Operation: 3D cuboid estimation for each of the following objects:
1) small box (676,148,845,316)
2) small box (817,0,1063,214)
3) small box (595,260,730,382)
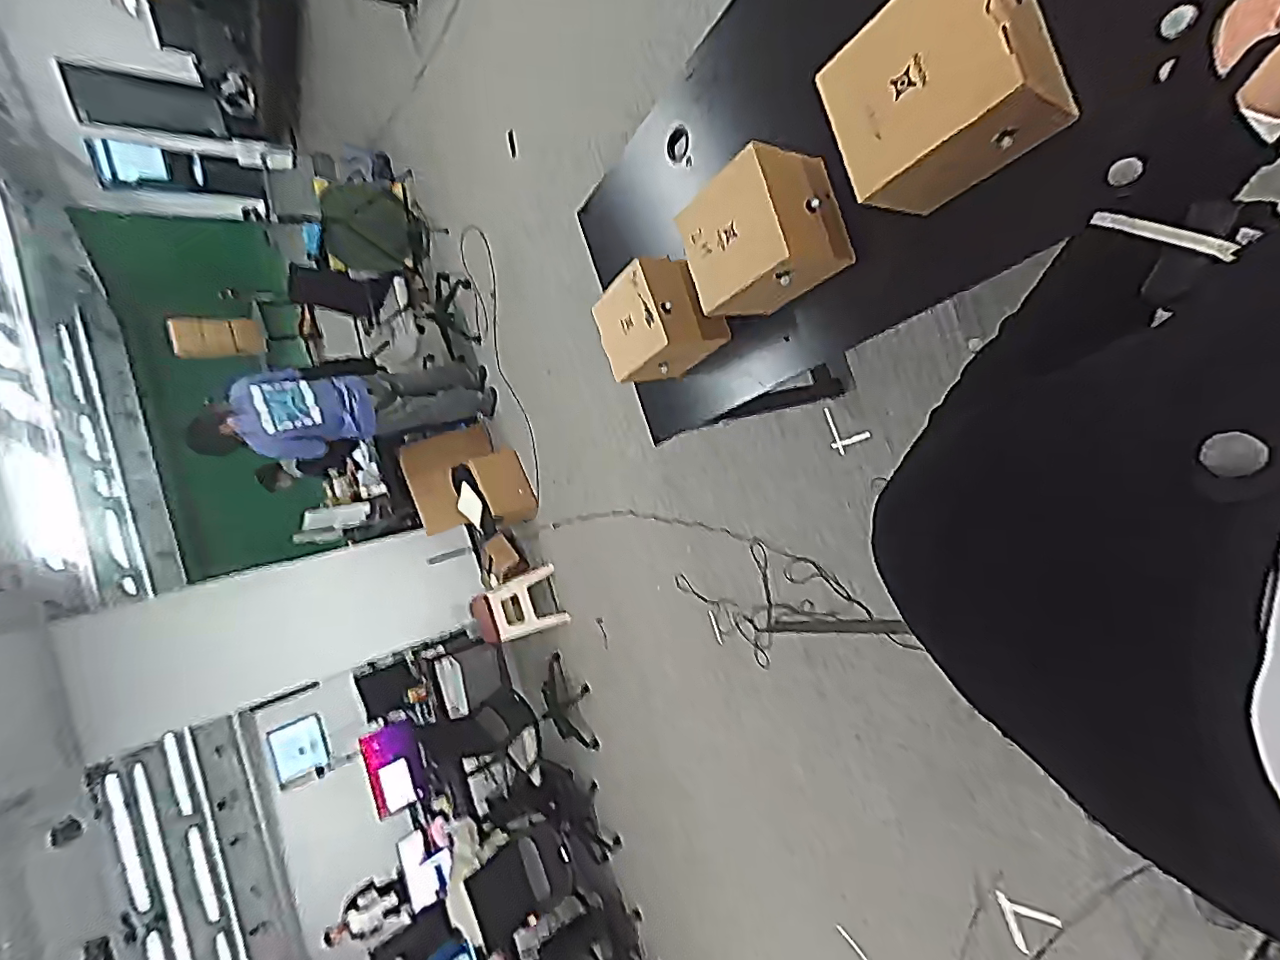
[{"bbox_3d":[0.191,-0.370,0.835,0.179,0.176,0.168,-21,84,54],"label":"small box"},{"bbox_3d":[0.343,-0.433,0.616,0.179,0.176,0.168,-23,82,54],"label":"small box"},{"bbox_3d":[0.043,-0.305,1.055,0.179,0.176,0.168,-27,80,53],"label":"small box"}]
